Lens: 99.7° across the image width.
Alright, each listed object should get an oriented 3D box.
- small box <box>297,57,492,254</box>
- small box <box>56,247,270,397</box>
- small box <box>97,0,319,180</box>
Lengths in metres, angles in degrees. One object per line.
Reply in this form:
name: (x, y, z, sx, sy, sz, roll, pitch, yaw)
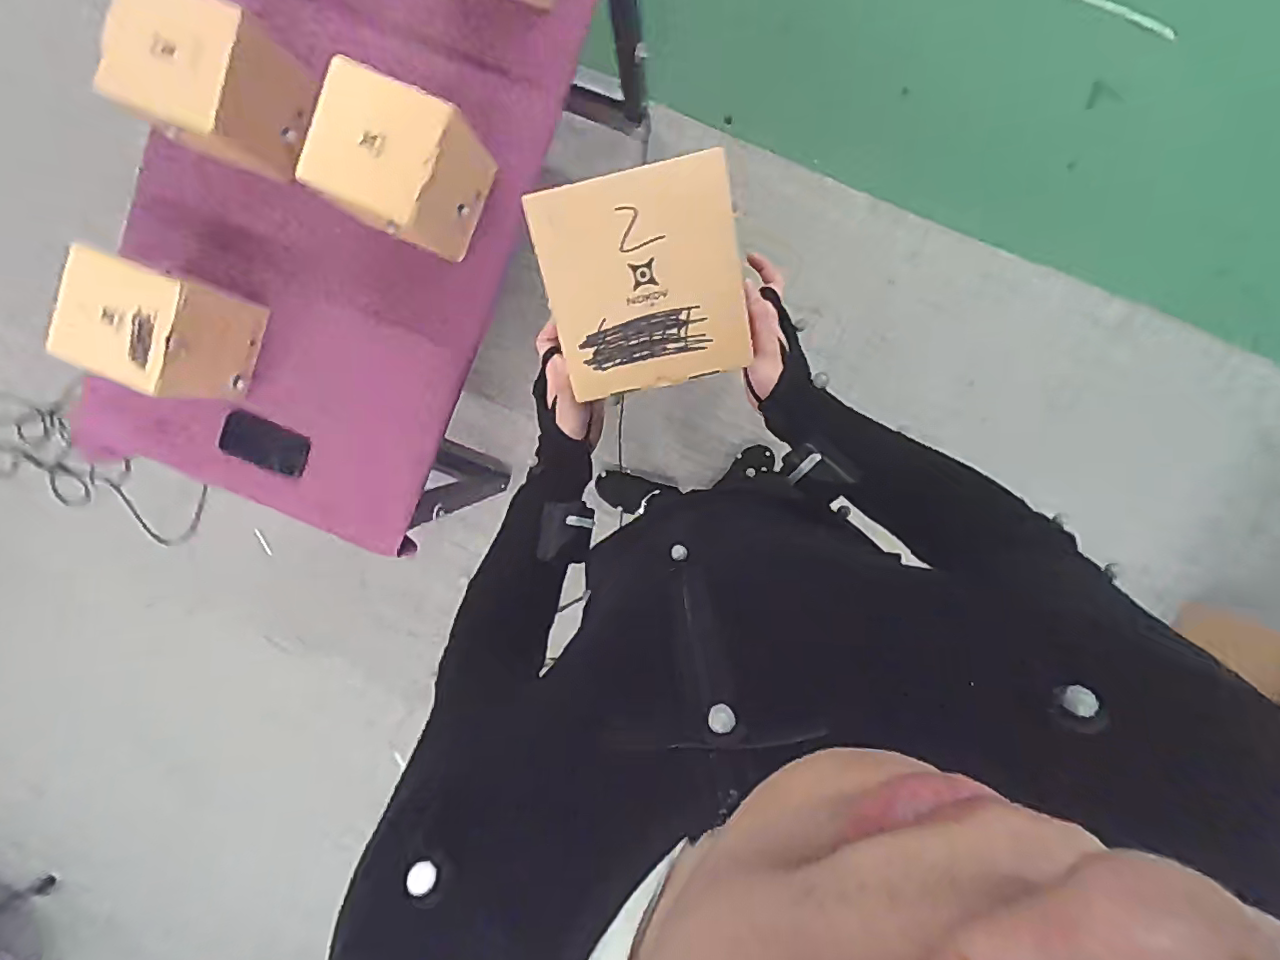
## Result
small box: (-0.349, -0.459, 0.798, 0.179, 0.176, 0.168, 23, 98, 2)
small box: (-0.735, -0.236, 0.852, 0.179, 0.176, 0.168, 21, 97, 2)
small box: (-0.630, -0.583, 0.806, 0.179, 0.176, 0.168, 21, 98, 1)
